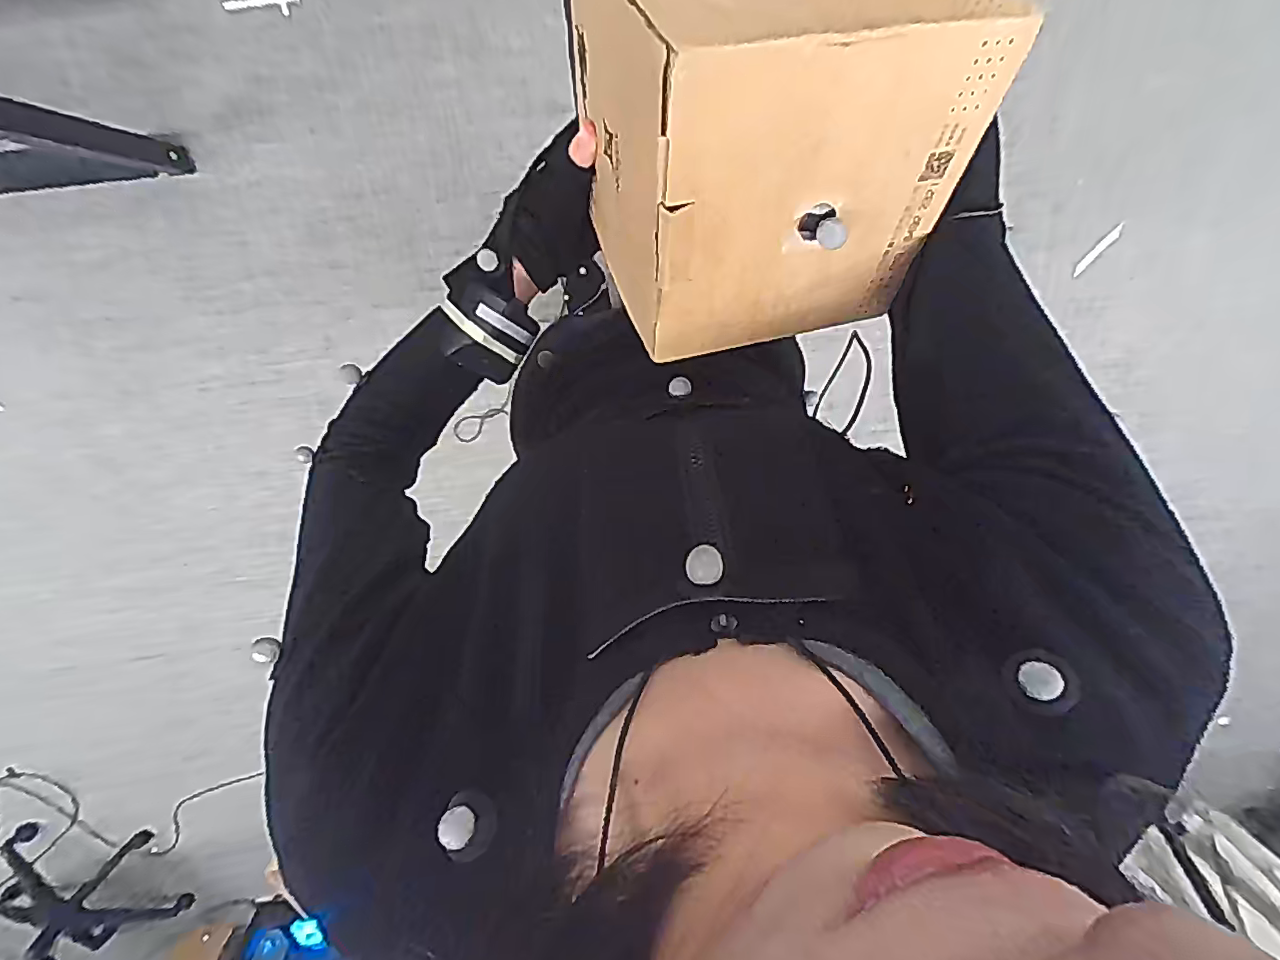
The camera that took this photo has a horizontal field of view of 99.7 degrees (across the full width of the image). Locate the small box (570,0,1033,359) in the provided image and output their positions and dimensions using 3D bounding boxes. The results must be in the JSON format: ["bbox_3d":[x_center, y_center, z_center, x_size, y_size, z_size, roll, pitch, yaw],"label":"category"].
[{"bbox_3d":[0.064,-0.202,0.311,0.176,0.179,0.168,-14,150,-11],"label":"small box"}]
